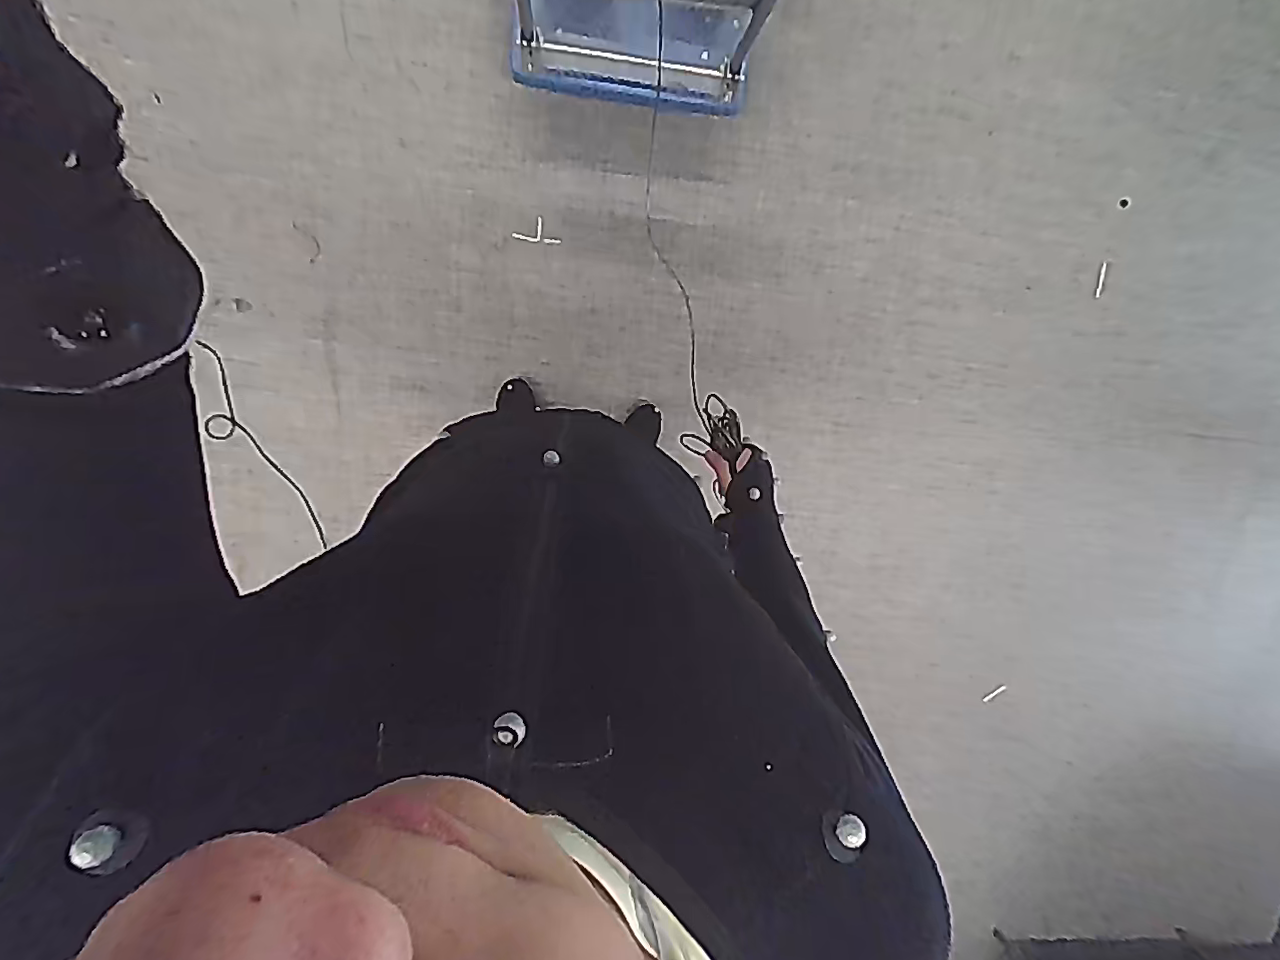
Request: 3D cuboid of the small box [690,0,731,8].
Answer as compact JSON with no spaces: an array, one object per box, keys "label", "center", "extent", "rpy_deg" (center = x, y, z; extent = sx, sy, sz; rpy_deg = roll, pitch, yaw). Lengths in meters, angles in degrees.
[{"label":"small box","center":[0.153,-1.207,1.191],"extent":[0.168,0.176,0.179],"rpy_deg":[5,100,-7]}]
